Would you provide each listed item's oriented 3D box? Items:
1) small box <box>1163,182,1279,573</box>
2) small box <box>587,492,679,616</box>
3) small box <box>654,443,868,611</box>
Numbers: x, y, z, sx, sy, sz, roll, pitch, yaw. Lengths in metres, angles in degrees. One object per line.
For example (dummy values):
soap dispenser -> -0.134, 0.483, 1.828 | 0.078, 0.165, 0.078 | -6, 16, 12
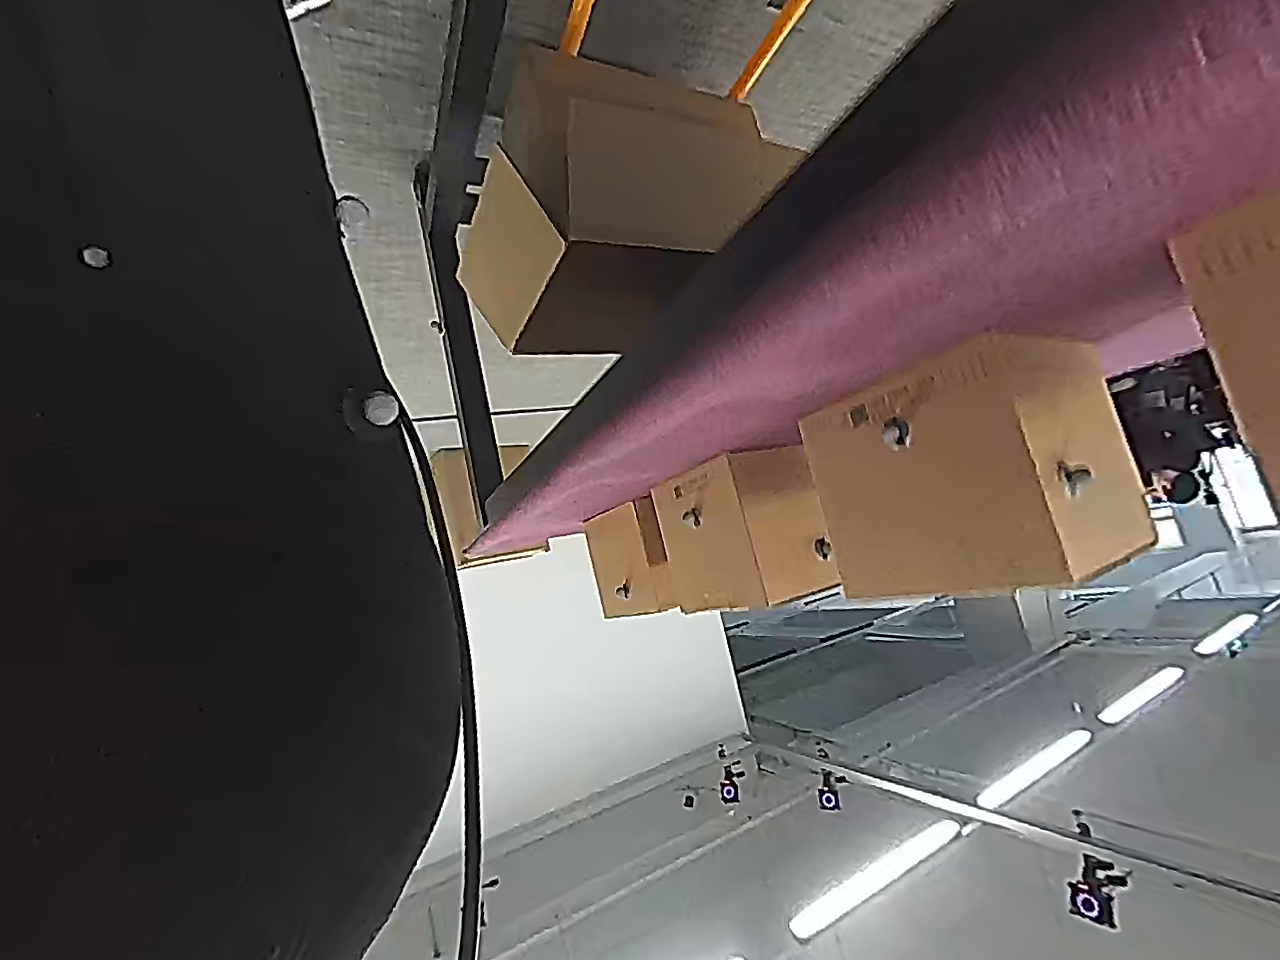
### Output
small box -> 0.378, -0.063, 0.232 | 0.179, 0.176, 0.168 | -5, 169, -34
small box -> 0.027, 0.114, 0.876 | 0.168, 0.176, 0.179 | -9, 170, -34
small box -> 0.142, 0.057, 0.672 | 0.179, 0.176, 0.168 | -8, 169, -31
